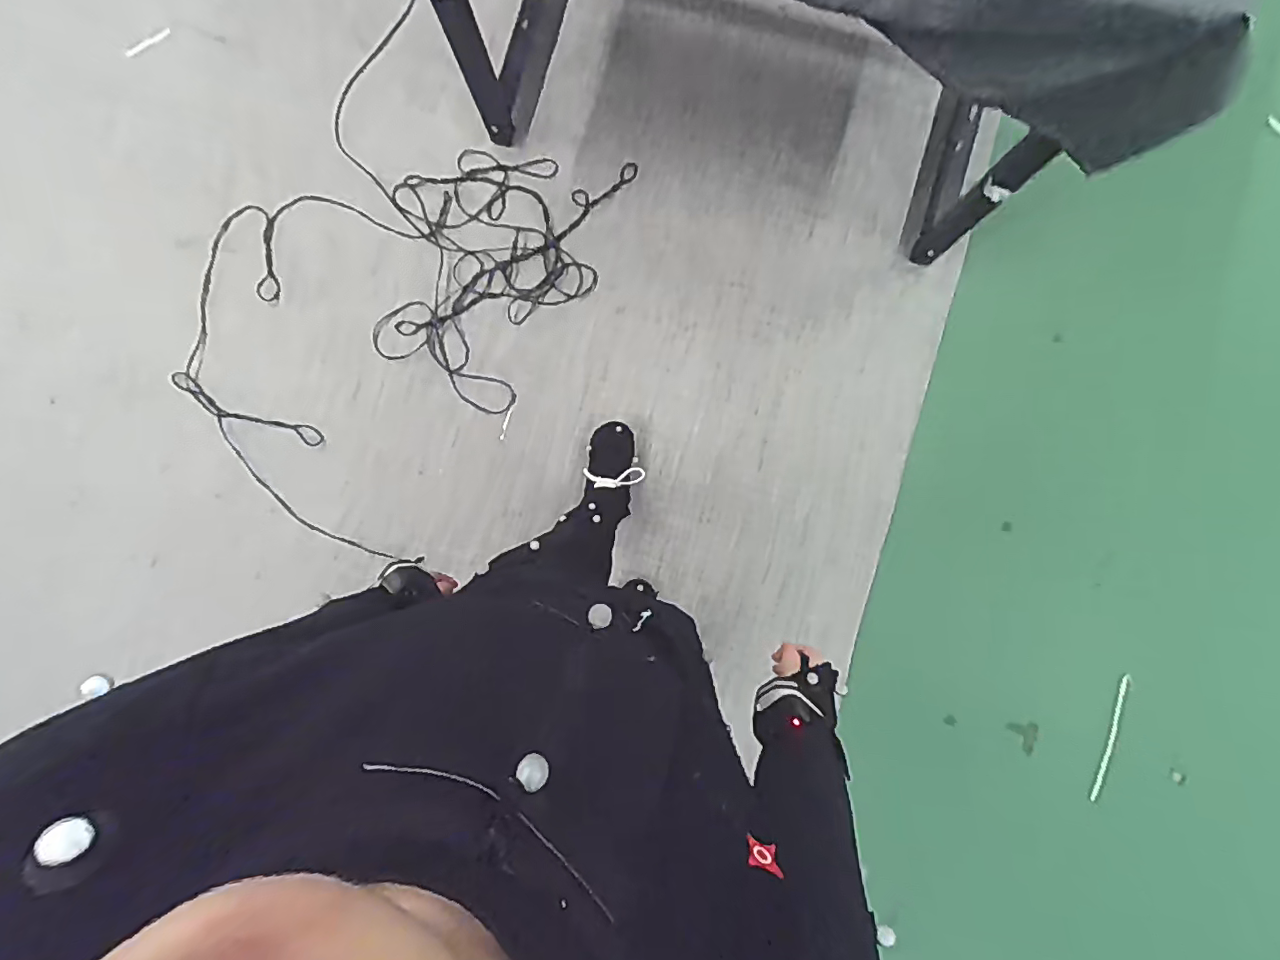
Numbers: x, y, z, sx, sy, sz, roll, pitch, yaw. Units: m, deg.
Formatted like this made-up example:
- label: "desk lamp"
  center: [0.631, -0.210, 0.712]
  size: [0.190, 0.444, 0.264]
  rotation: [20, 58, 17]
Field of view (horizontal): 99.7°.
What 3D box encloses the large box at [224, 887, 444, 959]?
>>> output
- label: "large box"
  center: [-0.703, 1.184, 1.166]
  size: [0.408, 0.320, 0.320]
  rotation: [16, 87, 3]
